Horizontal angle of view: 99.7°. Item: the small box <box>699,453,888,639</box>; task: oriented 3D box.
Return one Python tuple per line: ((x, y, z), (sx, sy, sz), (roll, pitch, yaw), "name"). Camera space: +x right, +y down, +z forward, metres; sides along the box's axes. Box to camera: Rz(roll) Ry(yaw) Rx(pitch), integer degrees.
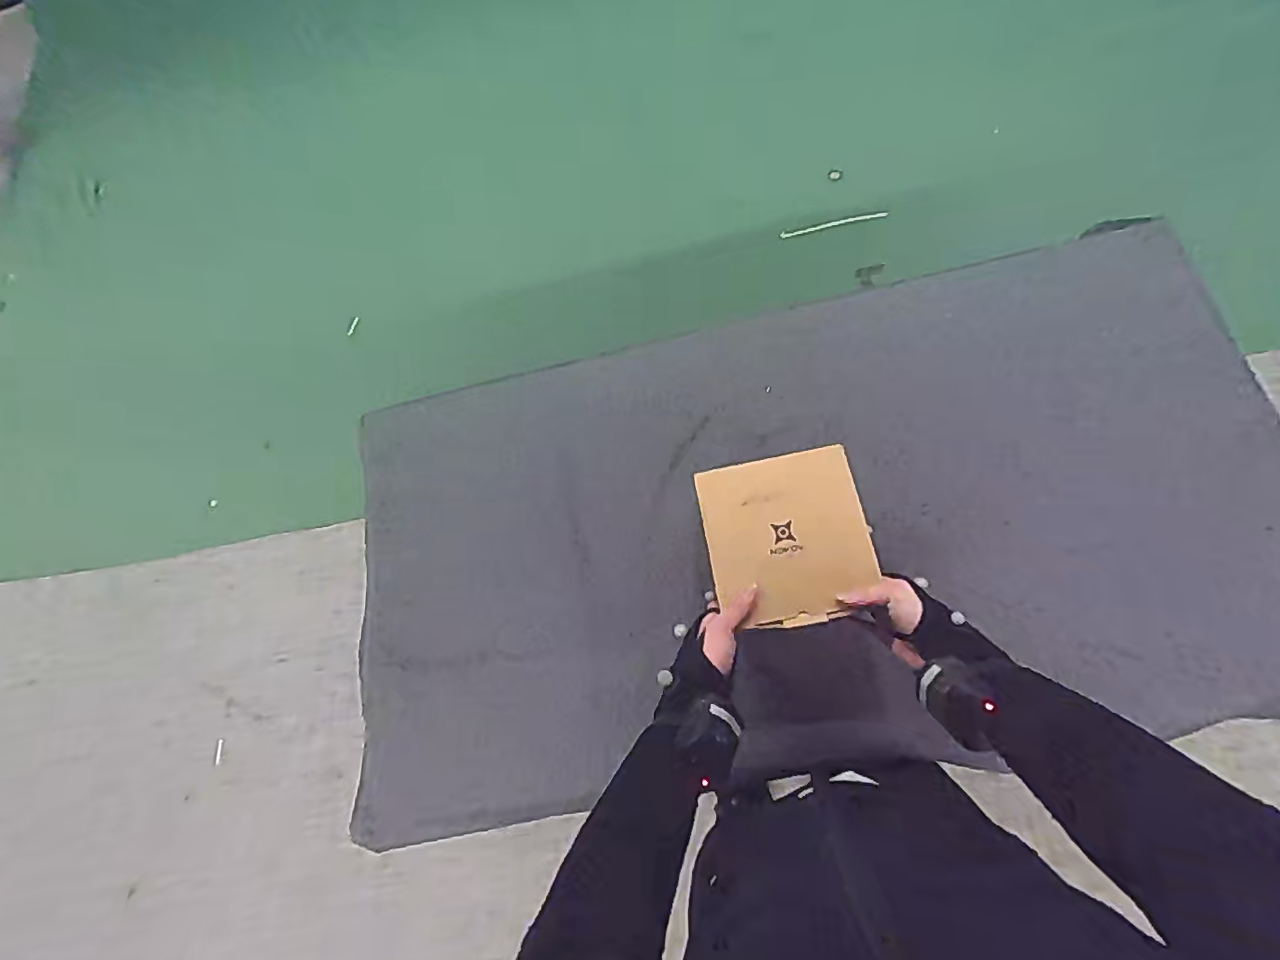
((0.170, 0.088, 0.647), (0.168, 0.176, 0.179), (-12, 72, 5), "small box")
